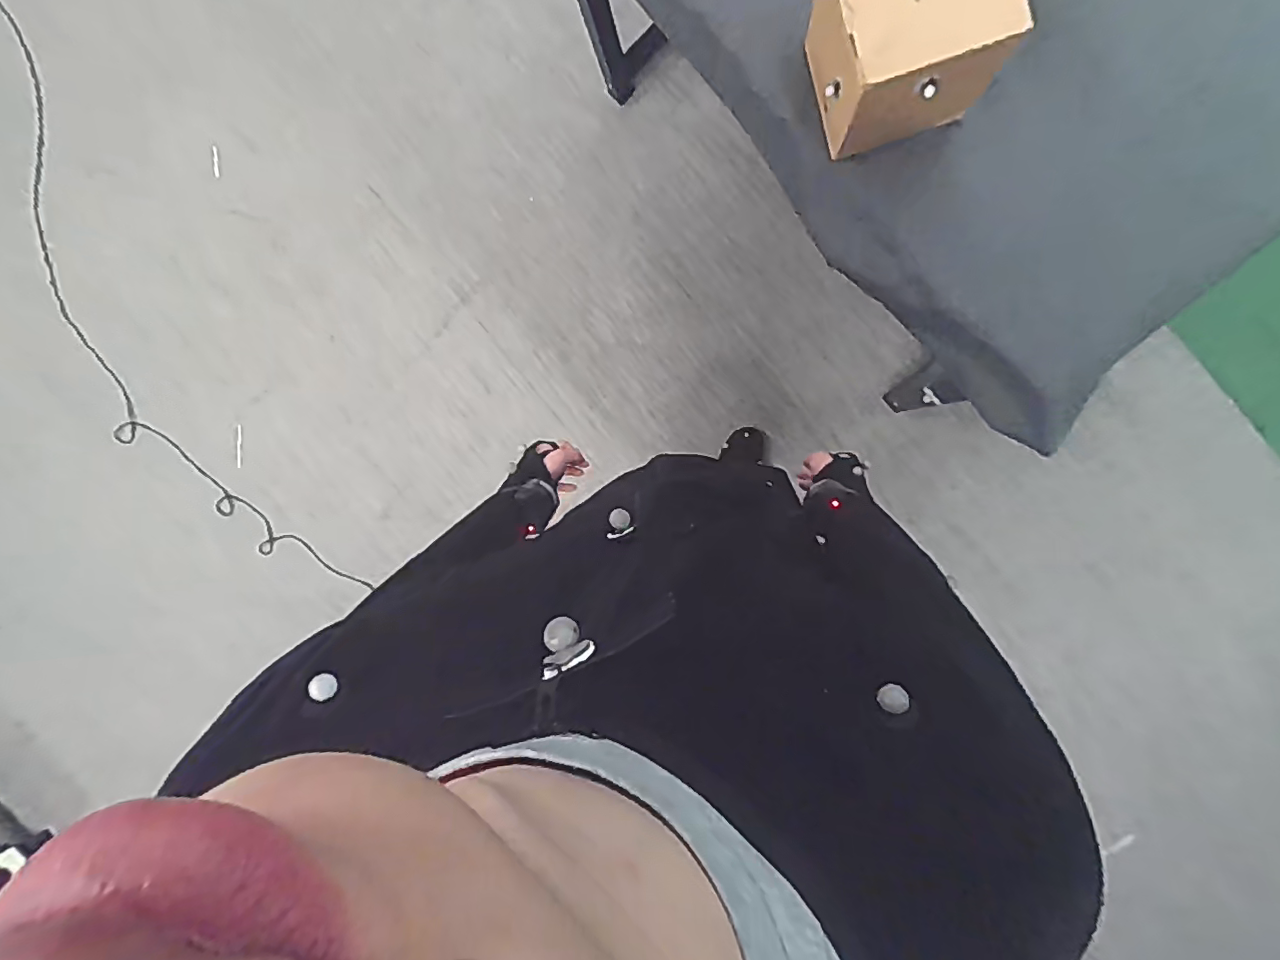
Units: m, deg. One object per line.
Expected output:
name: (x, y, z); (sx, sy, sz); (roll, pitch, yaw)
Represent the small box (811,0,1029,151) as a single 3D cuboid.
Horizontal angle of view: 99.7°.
small box: (0.315, -0.538, 0.652); (0.179, 0.176, 0.168); (-15, 94, 8)
